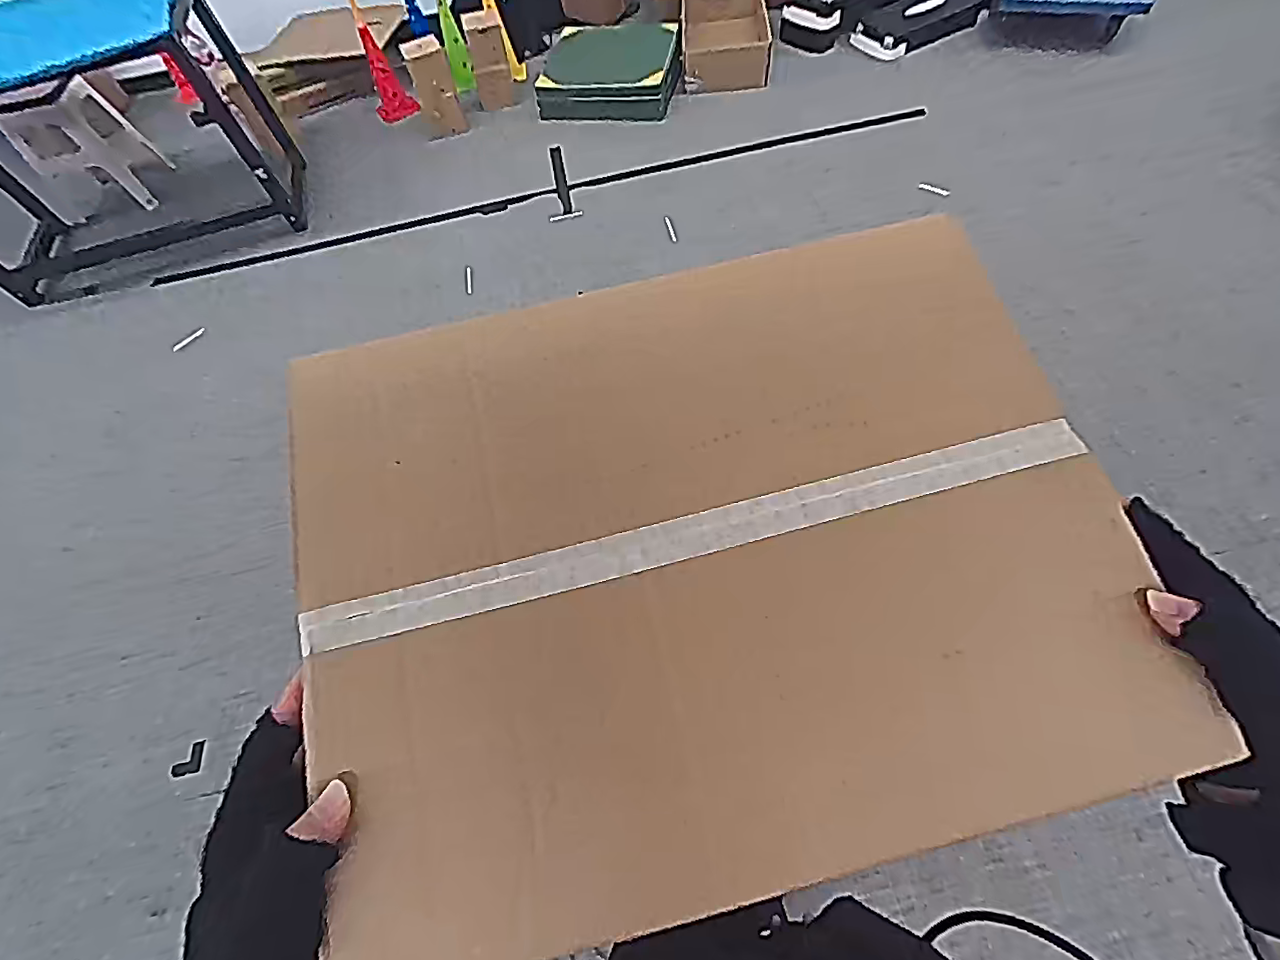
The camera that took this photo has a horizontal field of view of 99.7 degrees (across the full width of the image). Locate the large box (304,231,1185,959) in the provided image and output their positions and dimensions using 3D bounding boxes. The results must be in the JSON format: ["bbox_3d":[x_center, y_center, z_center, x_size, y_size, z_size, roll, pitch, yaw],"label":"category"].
[{"bbox_3d":[0.036,0.076,0.428,0.408,0.320,0.320,-14,72,-3],"label":"large box"}]
